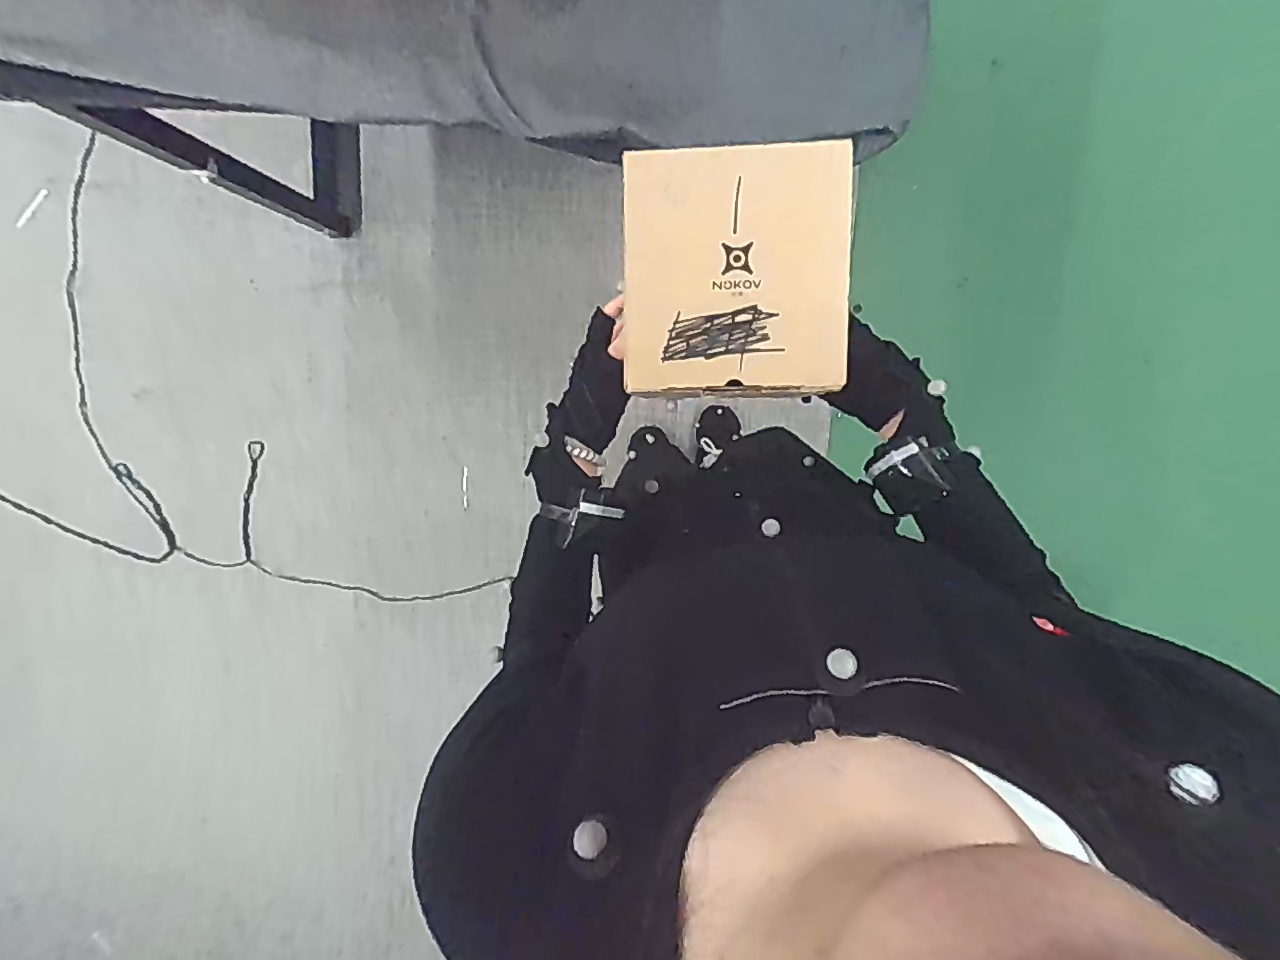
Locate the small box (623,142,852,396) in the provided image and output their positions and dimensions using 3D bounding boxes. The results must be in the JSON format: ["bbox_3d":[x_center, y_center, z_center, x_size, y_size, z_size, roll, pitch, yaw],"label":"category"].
[{"bbox_3d":[0.075,-0.164,0.478,0.168,0.176,0.179,0,96,4],"label":"small box"}]
